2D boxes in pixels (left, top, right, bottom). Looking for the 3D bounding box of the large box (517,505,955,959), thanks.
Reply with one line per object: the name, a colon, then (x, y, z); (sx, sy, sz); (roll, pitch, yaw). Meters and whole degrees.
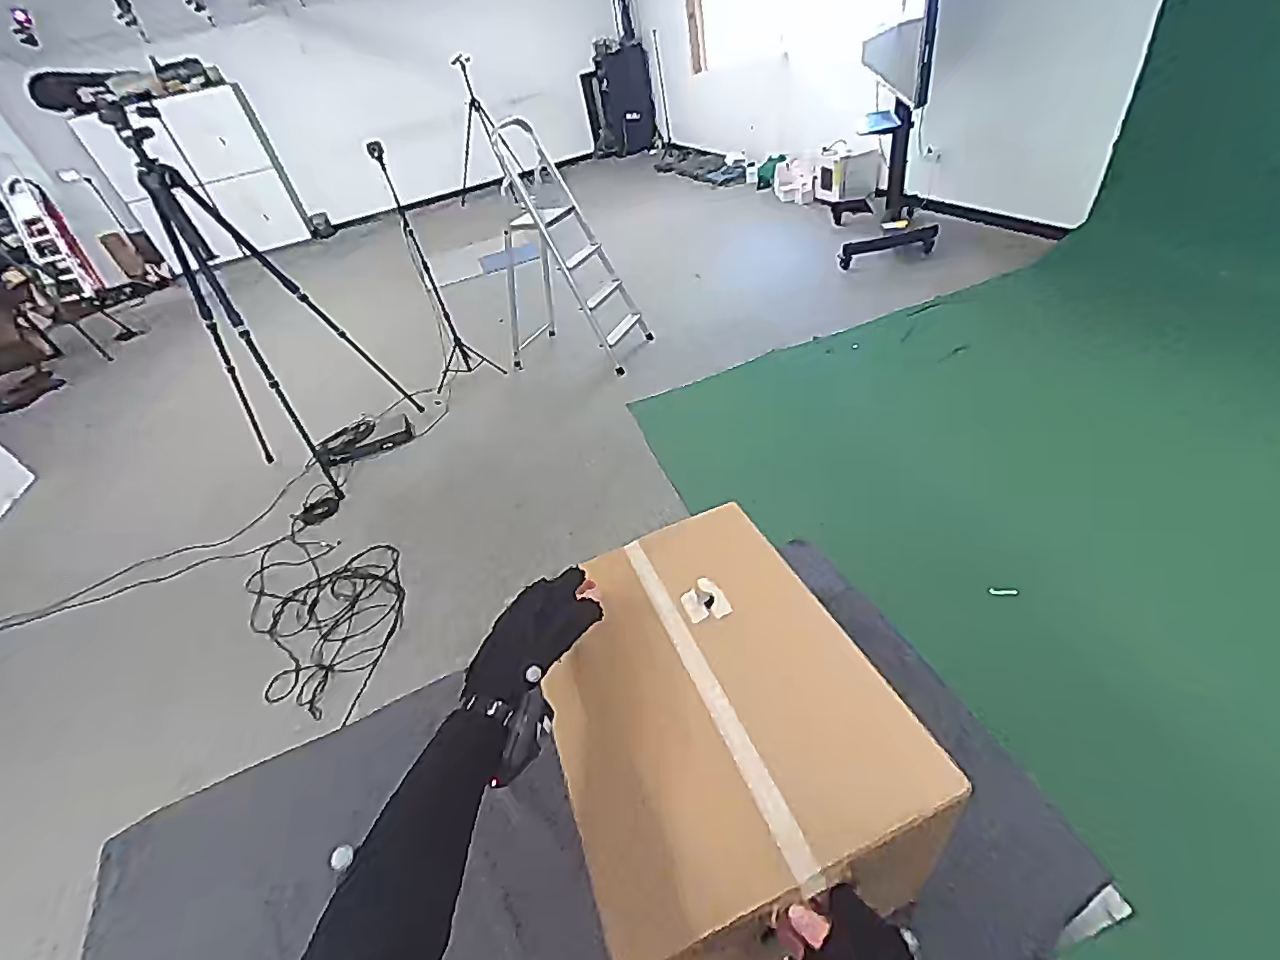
large box: (0.083, 0.307, 0.655); (0.320, 0.320, 0.408); (-21, 38, -9)
